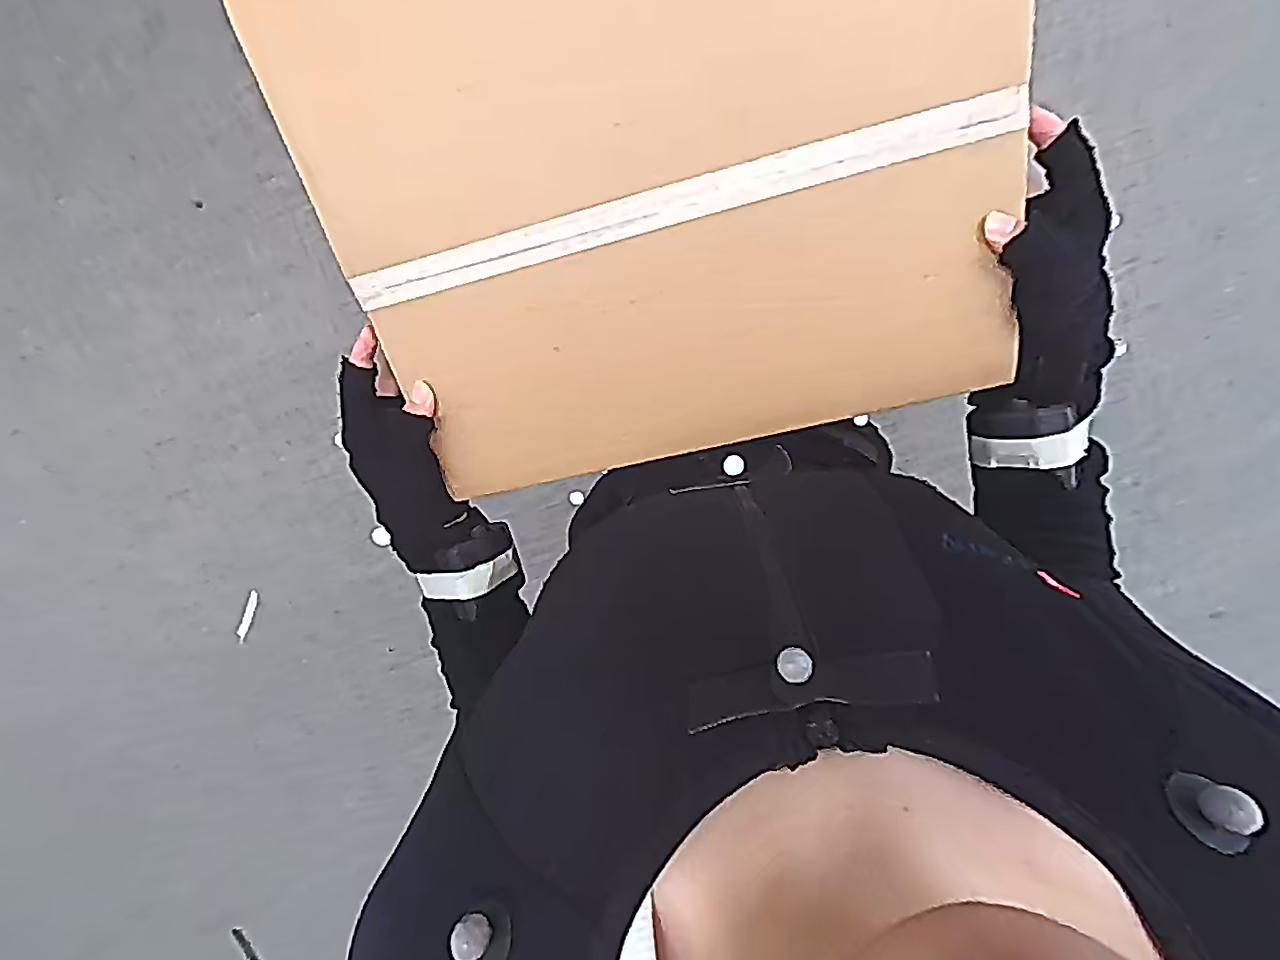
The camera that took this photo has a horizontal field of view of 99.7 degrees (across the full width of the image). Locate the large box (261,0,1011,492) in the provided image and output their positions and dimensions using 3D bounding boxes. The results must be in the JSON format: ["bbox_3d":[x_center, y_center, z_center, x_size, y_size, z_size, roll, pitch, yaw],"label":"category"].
[{"bbox_3d":[0.018,-0.228,0.467,0.408,0.320,0.320,-12,116,8],"label":"large box"}]
